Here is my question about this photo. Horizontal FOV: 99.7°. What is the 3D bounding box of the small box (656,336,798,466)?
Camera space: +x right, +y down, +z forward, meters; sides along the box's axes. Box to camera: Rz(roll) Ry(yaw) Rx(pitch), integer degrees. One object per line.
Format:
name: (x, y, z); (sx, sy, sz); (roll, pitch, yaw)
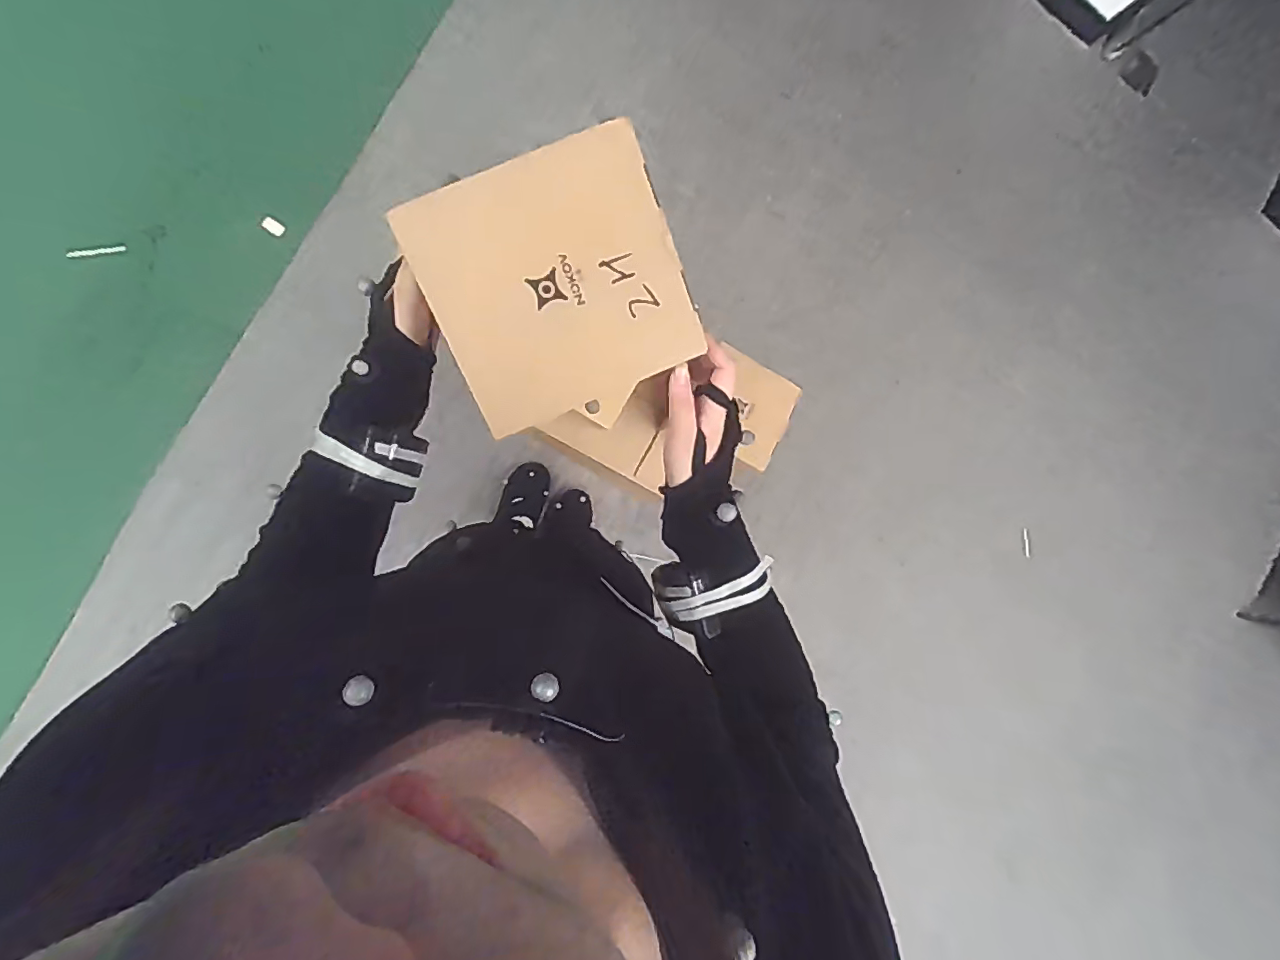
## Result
small box: (0.153, -0.140, 1.010); (0.179, 0.176, 0.168); (29, 86, -11)

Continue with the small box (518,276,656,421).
small box: (-0.098, -0.217, 0.949); (0.168, 0.176, 0.179); (31, 88, -14)
